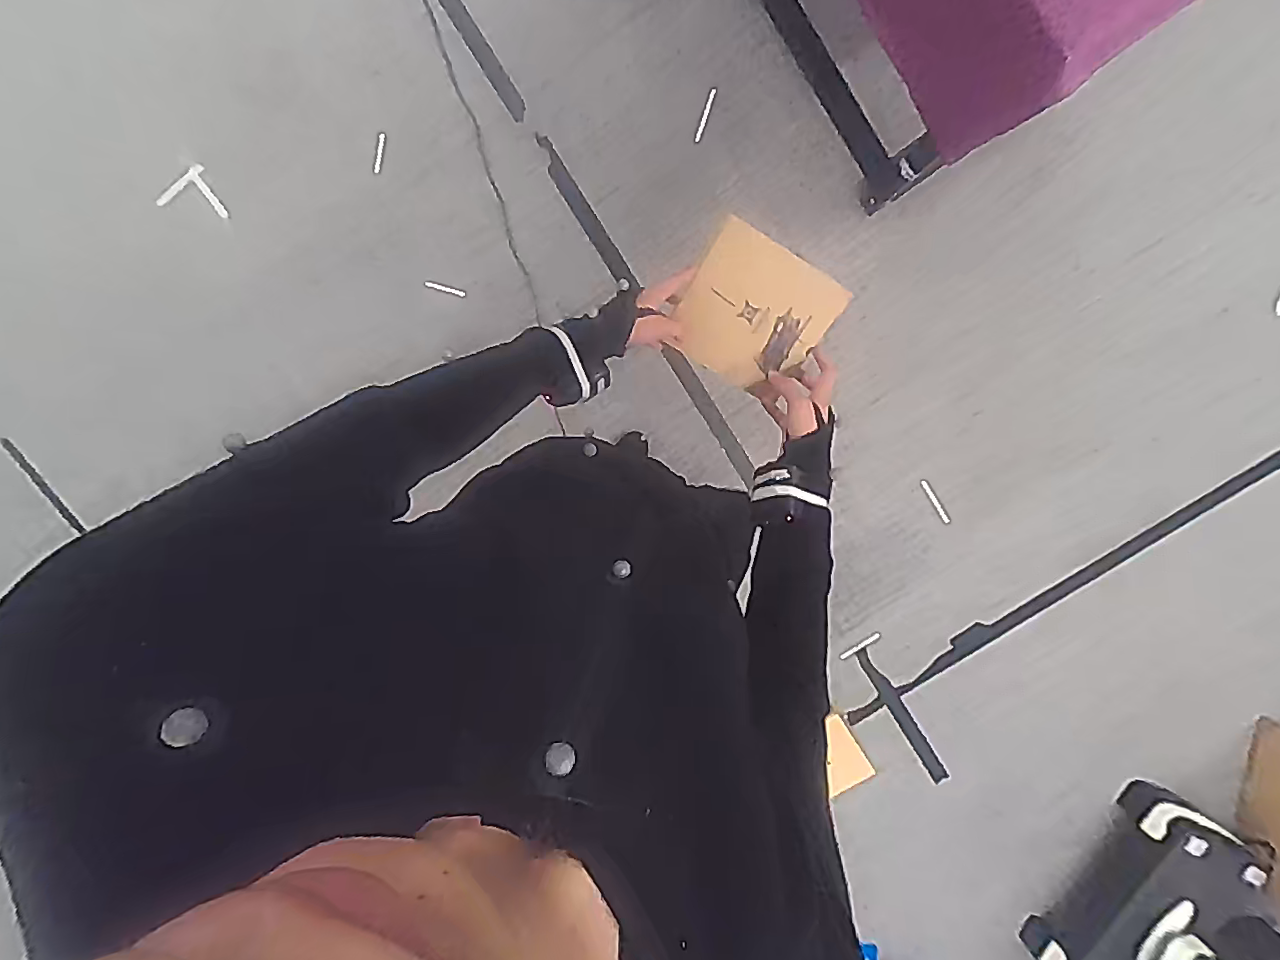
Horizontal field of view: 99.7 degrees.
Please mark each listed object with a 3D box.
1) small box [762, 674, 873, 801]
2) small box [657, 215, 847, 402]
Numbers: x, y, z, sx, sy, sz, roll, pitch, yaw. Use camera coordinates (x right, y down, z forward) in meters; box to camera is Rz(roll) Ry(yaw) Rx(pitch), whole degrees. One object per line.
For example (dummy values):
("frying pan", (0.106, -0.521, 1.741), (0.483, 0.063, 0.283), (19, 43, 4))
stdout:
("small box", (0.412, 0.601, 1.281), (0.168, 0.176, 0.179), (-33, 96, 7))
("small box", (0.141, -0.237, 0.733), (0.179, 0.176, 0.168), (29, 114, -7))
